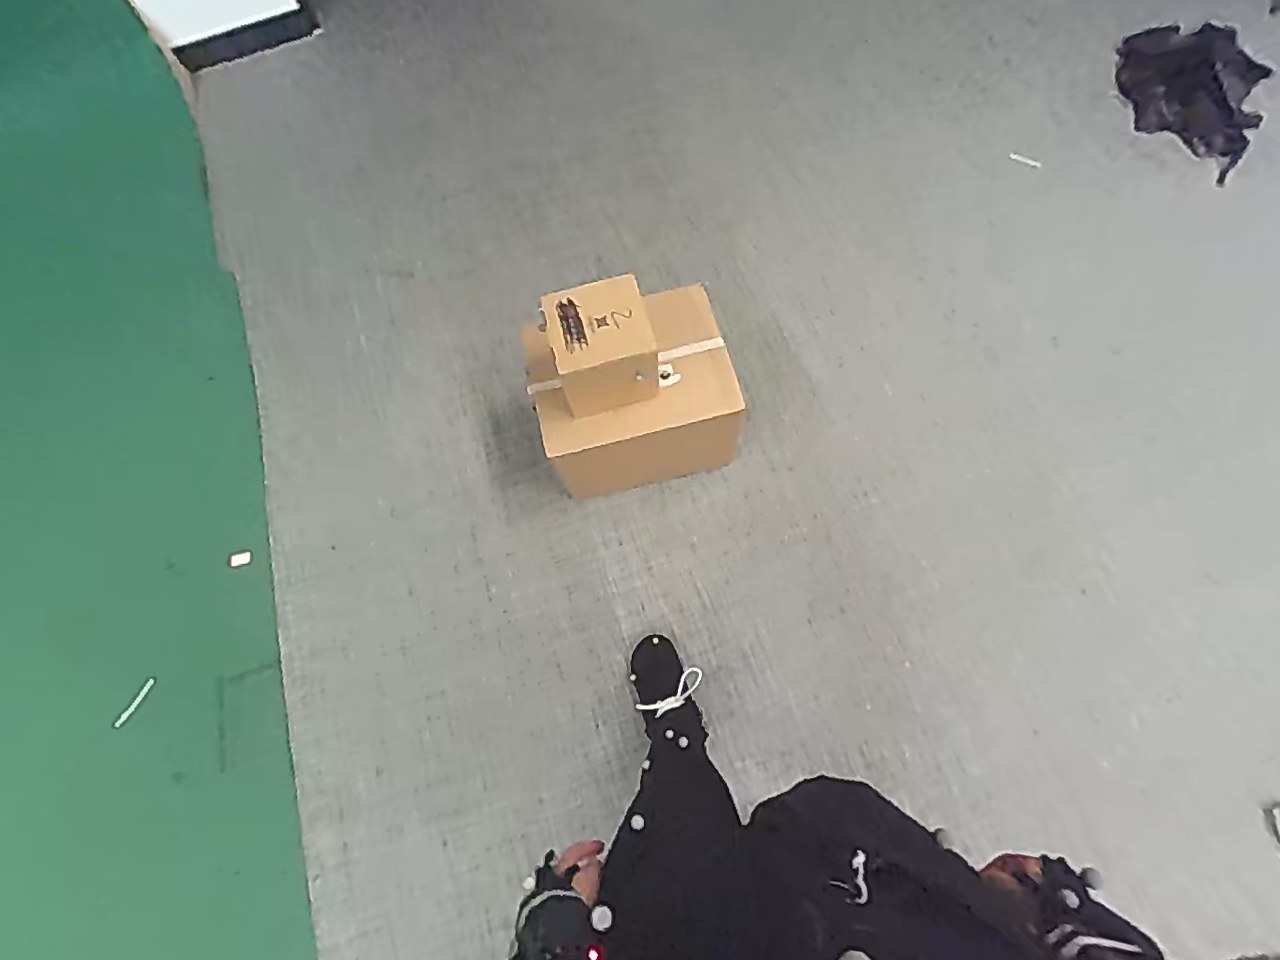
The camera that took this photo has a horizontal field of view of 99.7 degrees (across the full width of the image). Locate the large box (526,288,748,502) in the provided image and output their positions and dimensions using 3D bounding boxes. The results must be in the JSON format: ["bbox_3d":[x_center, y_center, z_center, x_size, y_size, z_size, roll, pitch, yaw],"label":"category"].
[{"bbox_3d":[-0.009,-0.178,1.241,0.408,0.320,0.320,-14,72,-2],"label":"large box"}]
